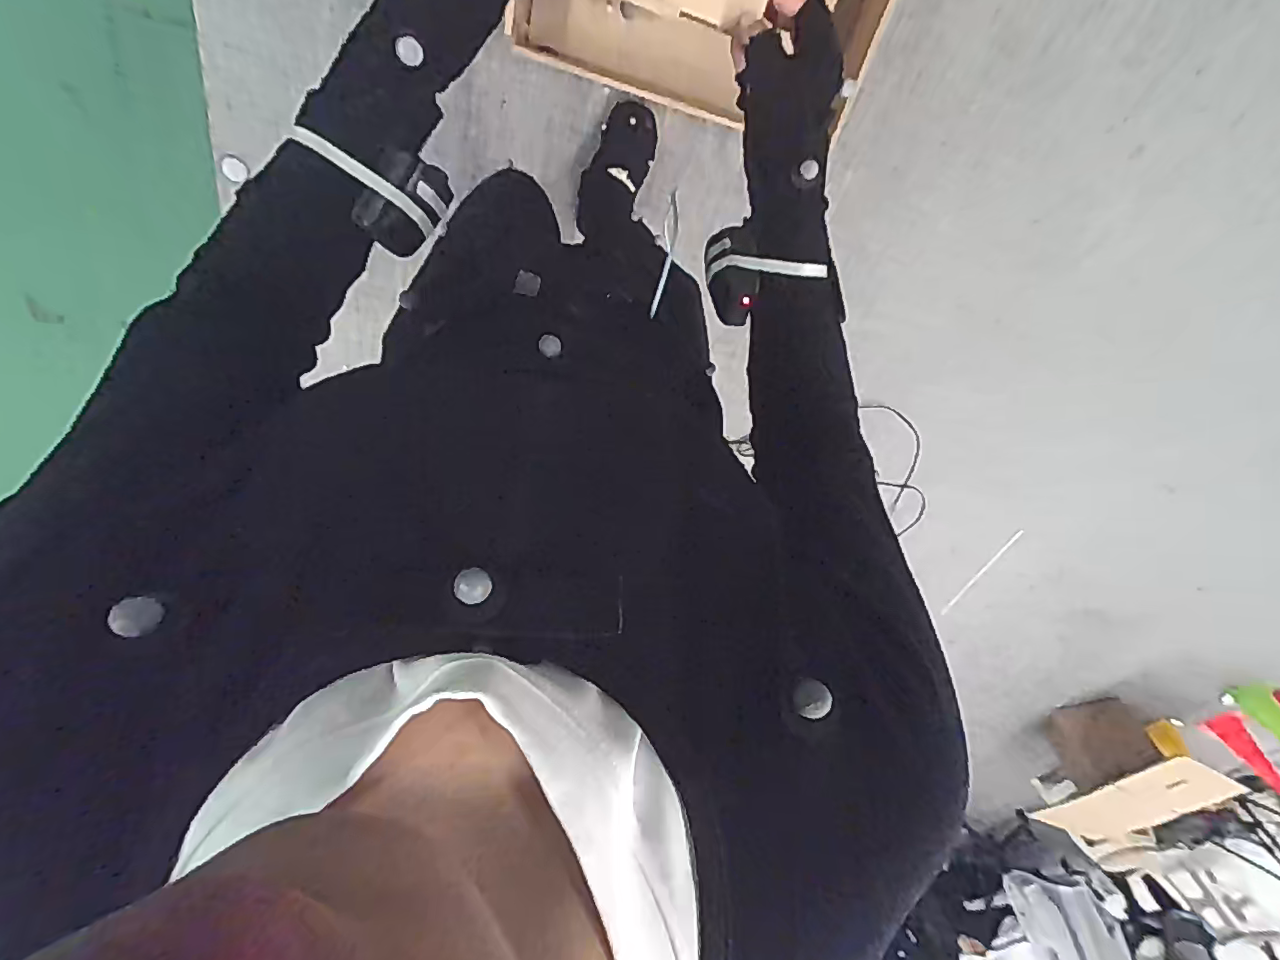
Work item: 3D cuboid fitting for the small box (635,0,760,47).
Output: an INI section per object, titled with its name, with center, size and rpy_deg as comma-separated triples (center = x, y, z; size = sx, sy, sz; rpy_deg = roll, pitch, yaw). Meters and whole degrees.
[small box]
center = 0.020, -0.450, 0.379
size = 0.168, 0.176, 0.179
rpy_deg = 10, 129, -21
